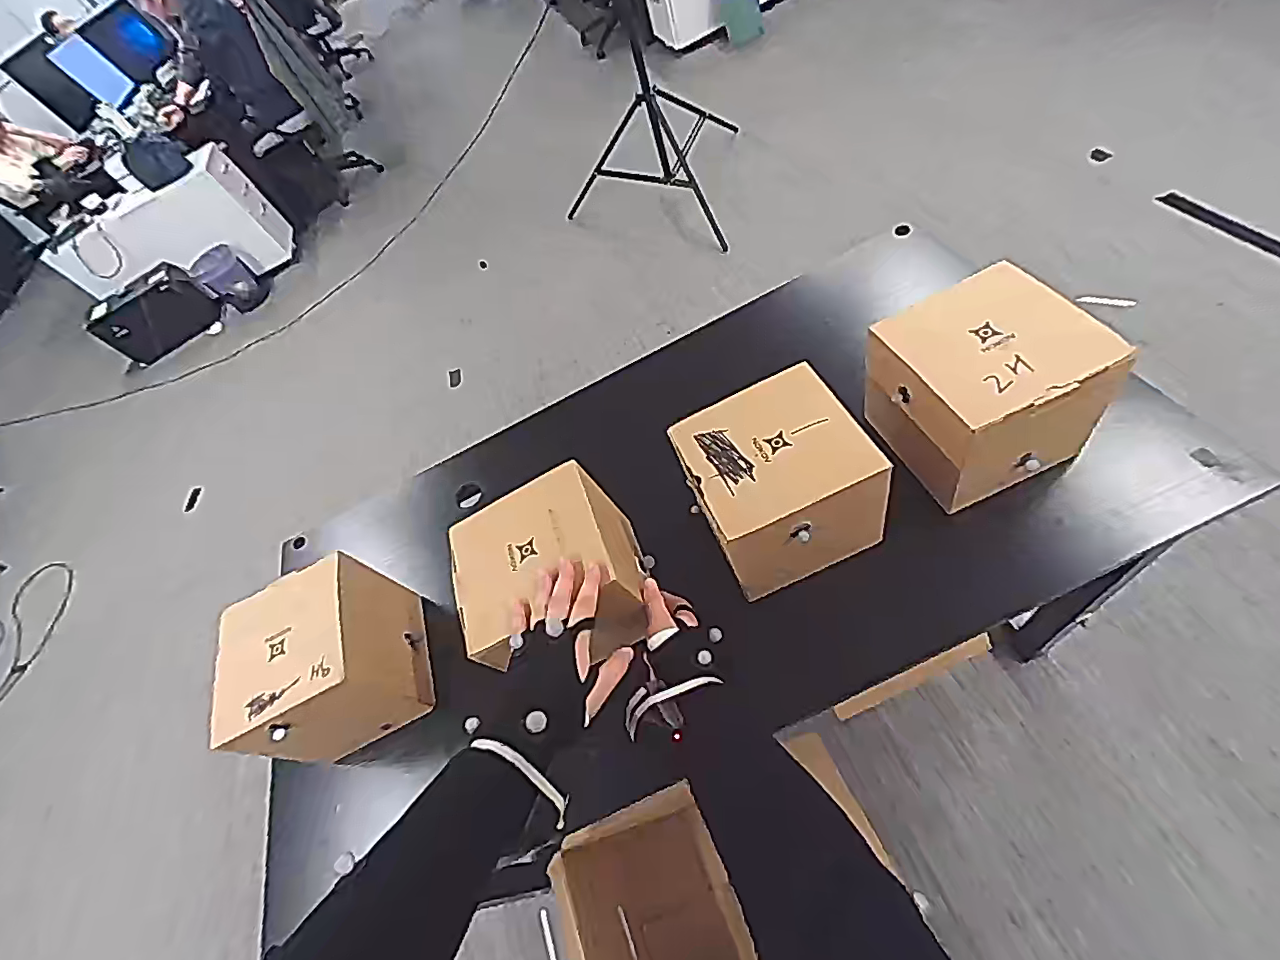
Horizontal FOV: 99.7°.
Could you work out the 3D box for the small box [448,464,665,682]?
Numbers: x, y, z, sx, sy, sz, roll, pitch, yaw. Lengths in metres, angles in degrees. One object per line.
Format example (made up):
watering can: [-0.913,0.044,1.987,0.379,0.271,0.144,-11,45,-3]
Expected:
small box: [-0.096,0.119,0.641,0.179,0.176,0.168,-29,54,6]

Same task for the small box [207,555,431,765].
small box: [-0.389,0.232,0.683,0.168,0.176,0.179,-27,53,1]

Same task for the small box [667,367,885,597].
small box: [0.155,0.011,0.624,0.179,0.176,0.168,-25,53,2]

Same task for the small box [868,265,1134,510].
small box: [0.375,-0.098,0.610,0.168,0.176,0.179,-26,53,4]
